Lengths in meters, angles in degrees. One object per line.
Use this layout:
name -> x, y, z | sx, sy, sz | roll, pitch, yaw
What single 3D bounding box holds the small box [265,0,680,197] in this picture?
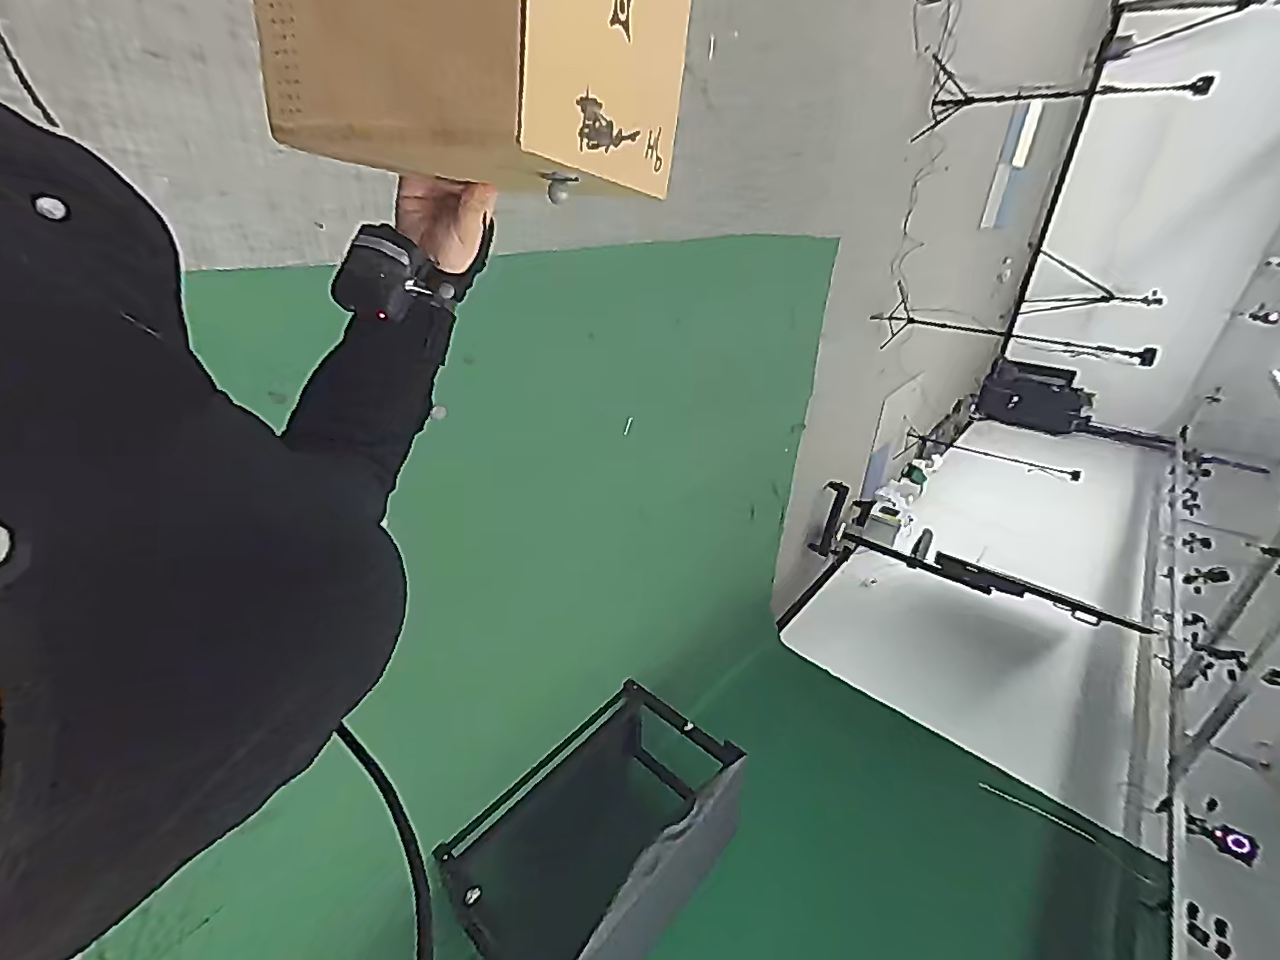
small box -> -0.087, -0.271, 0.309 | 0.168, 0.176, 0.179 | -35, 135, -58
